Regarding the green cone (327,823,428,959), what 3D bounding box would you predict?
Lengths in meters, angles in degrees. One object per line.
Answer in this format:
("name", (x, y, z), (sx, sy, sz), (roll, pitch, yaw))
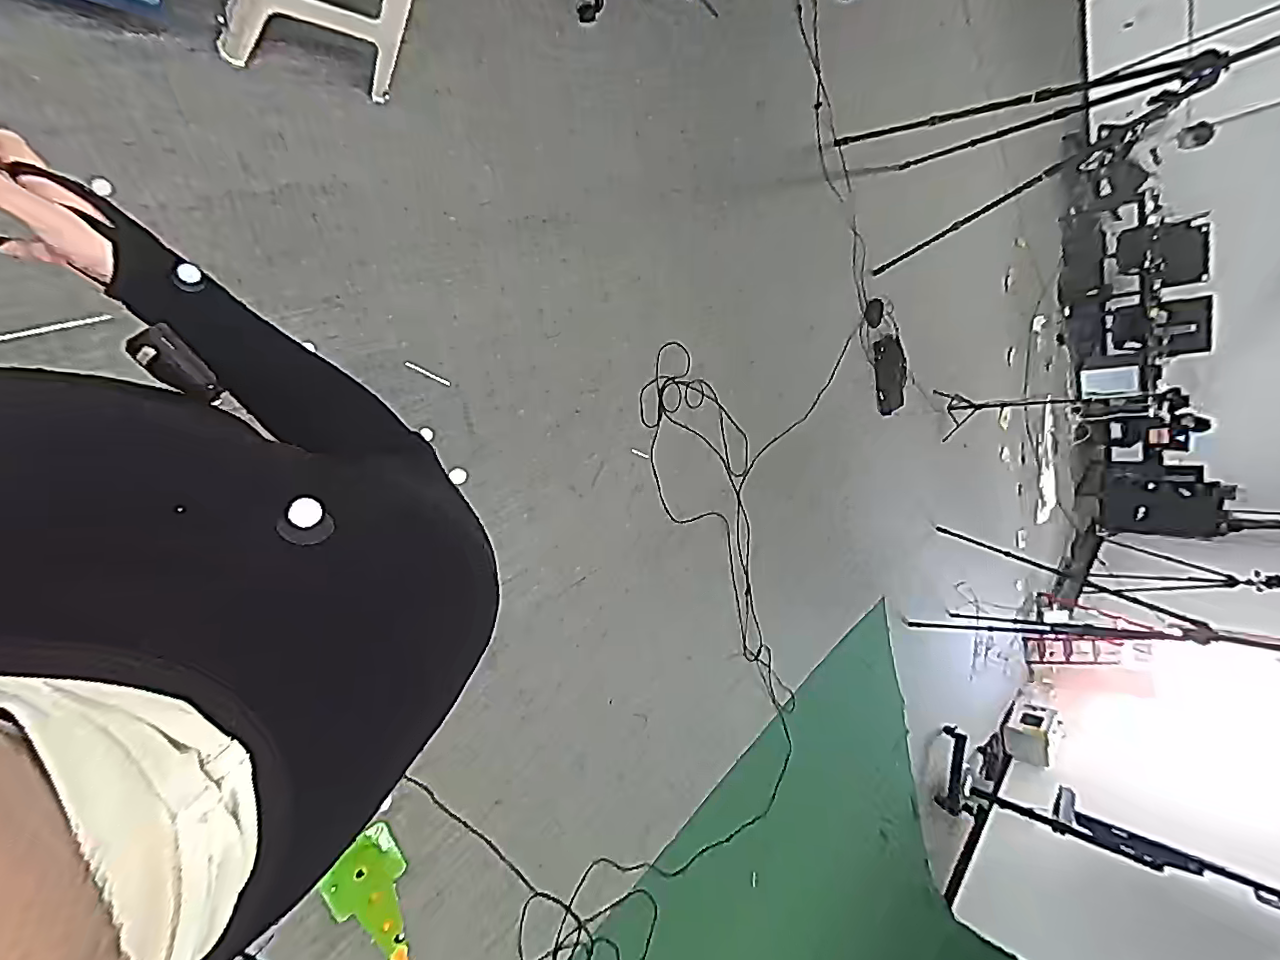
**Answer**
("green cone", (-0.651, 1.134, 1.429), (0.202, 0.368, 0.200), (-29, 111, -37))
